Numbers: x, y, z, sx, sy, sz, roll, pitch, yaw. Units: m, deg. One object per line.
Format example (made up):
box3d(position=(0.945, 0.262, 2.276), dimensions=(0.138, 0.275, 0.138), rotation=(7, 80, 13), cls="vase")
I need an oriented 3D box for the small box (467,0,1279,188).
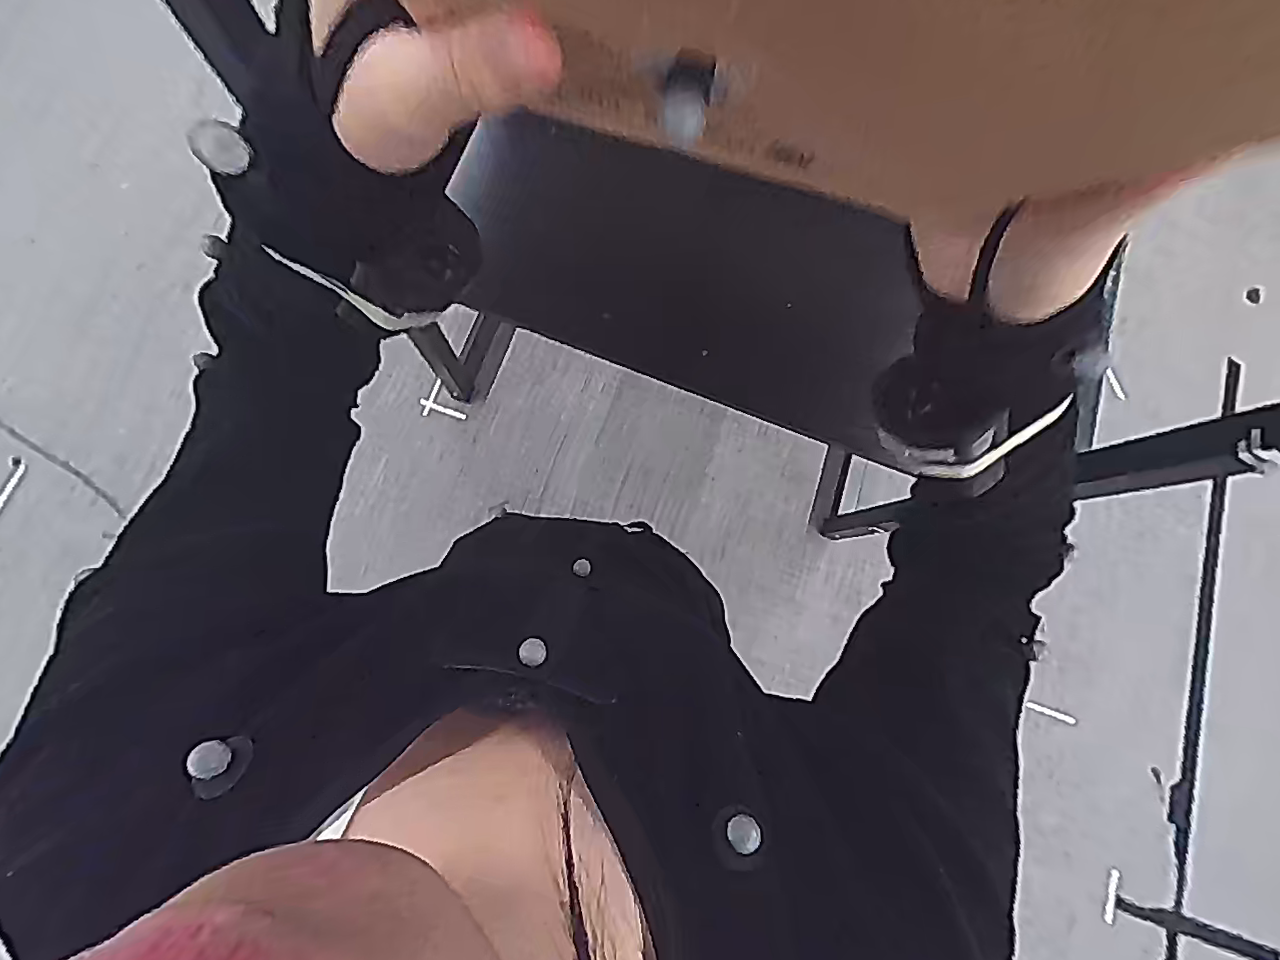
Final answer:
box3d(position=(0.048, -0.163, 0.069), dimensions=(0.168, 0.176, 0.179), rotation=(11, 109, -7), cls="small box")
